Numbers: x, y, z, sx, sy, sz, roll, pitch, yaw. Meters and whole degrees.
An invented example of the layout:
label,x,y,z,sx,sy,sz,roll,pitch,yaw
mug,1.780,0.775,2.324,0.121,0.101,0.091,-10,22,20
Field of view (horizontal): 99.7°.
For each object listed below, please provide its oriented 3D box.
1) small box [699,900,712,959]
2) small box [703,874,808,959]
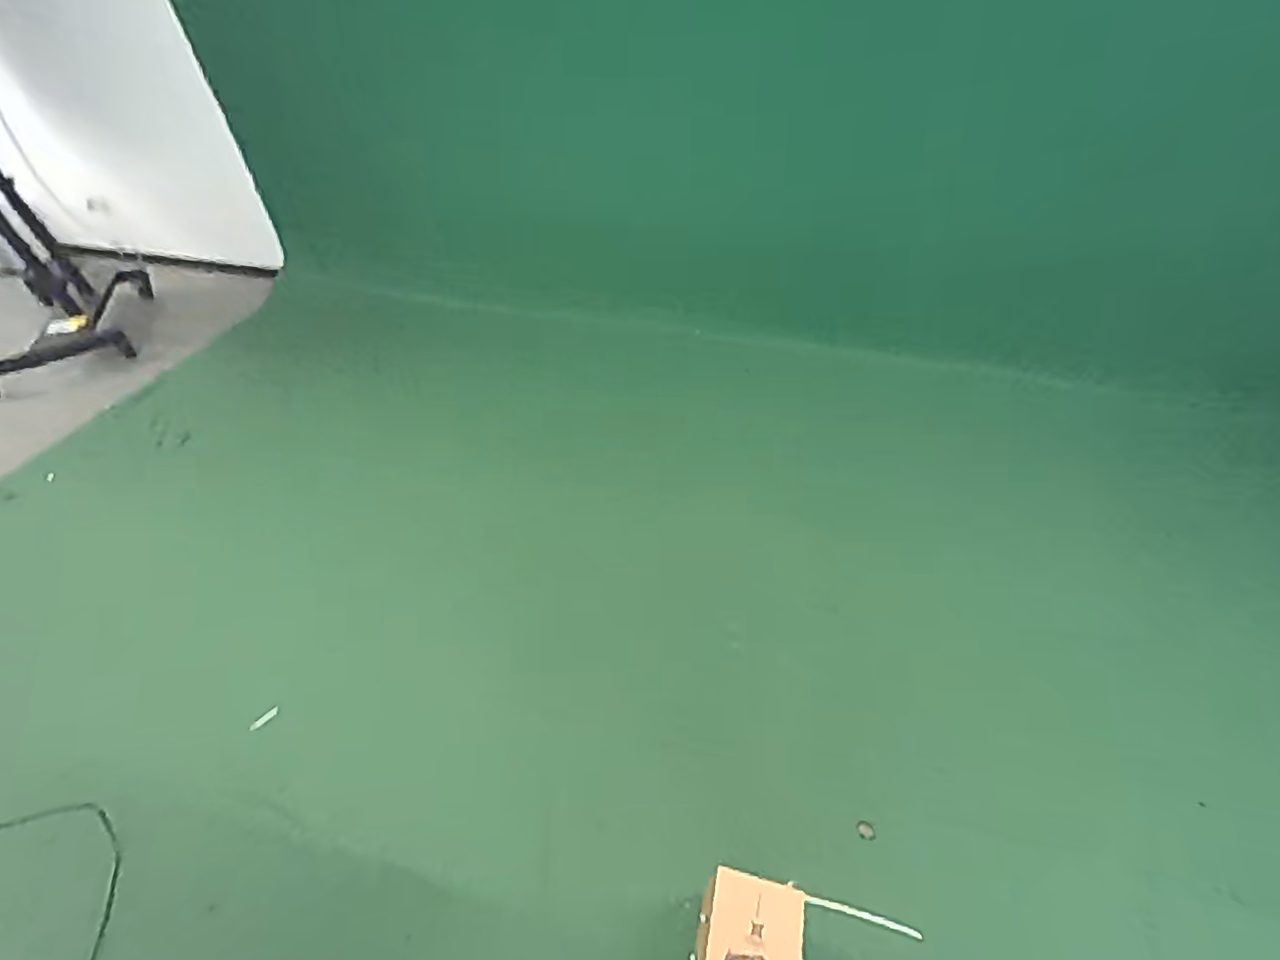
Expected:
label,x,y,z,sx,sy,sz,roll,pitch,yaw
small box,0.212,0.996,1.126,0.168,0.176,0.179,10,46,10
small box,0.211,0.880,1.011,0.168,0.176,0.179,10,45,10
